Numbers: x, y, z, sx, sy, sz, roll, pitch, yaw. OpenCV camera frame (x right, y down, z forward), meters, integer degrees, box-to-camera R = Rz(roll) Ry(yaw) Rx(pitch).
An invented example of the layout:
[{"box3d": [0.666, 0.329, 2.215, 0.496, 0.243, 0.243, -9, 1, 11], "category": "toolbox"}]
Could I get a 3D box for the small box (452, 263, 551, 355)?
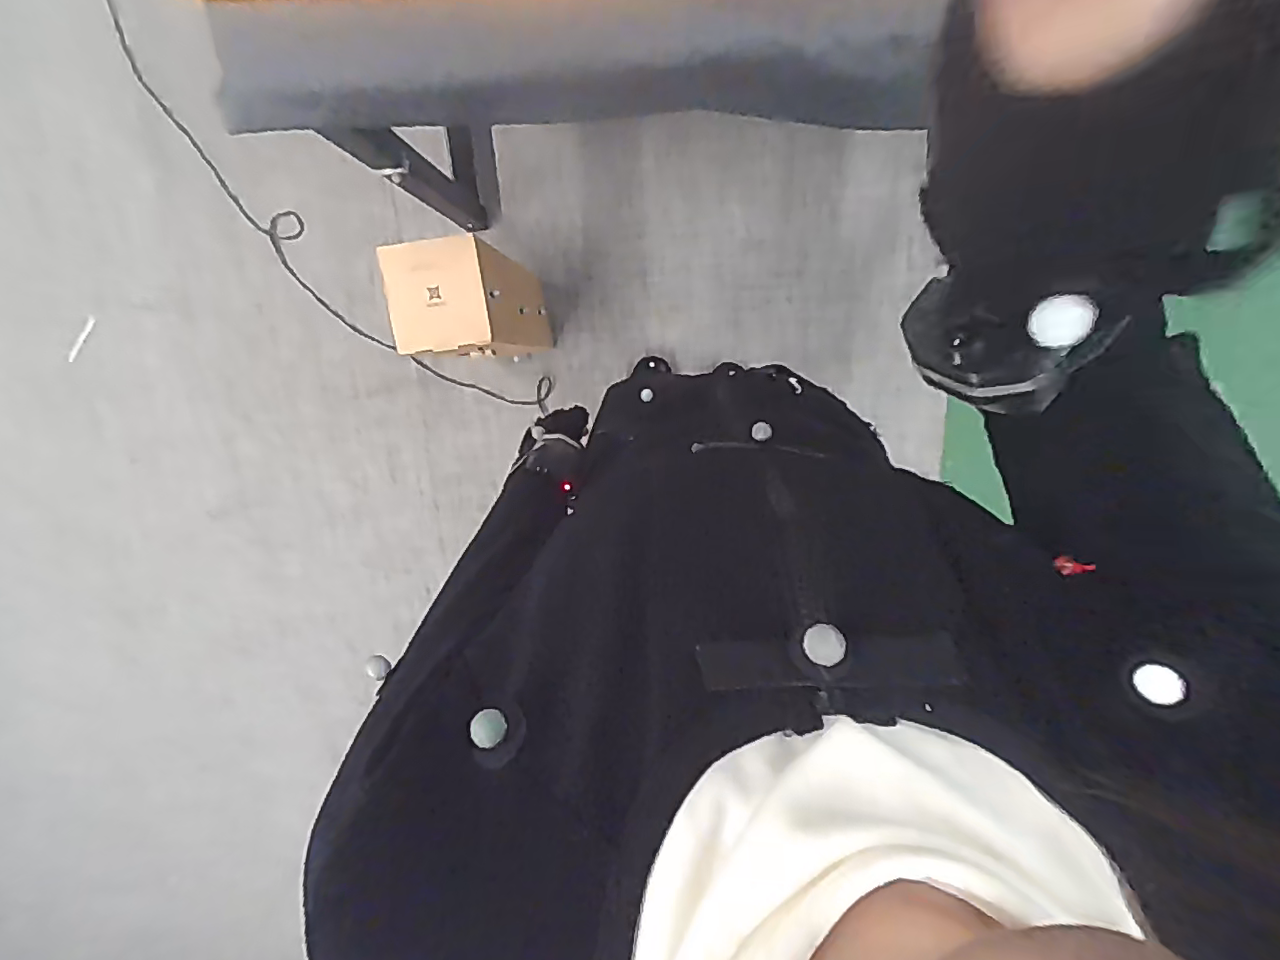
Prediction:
[{"box3d": [-0.321, -0.398, 1.283, 0.168, 0.176, 0.179, -10, 103, 5], "category": "small box"}]
